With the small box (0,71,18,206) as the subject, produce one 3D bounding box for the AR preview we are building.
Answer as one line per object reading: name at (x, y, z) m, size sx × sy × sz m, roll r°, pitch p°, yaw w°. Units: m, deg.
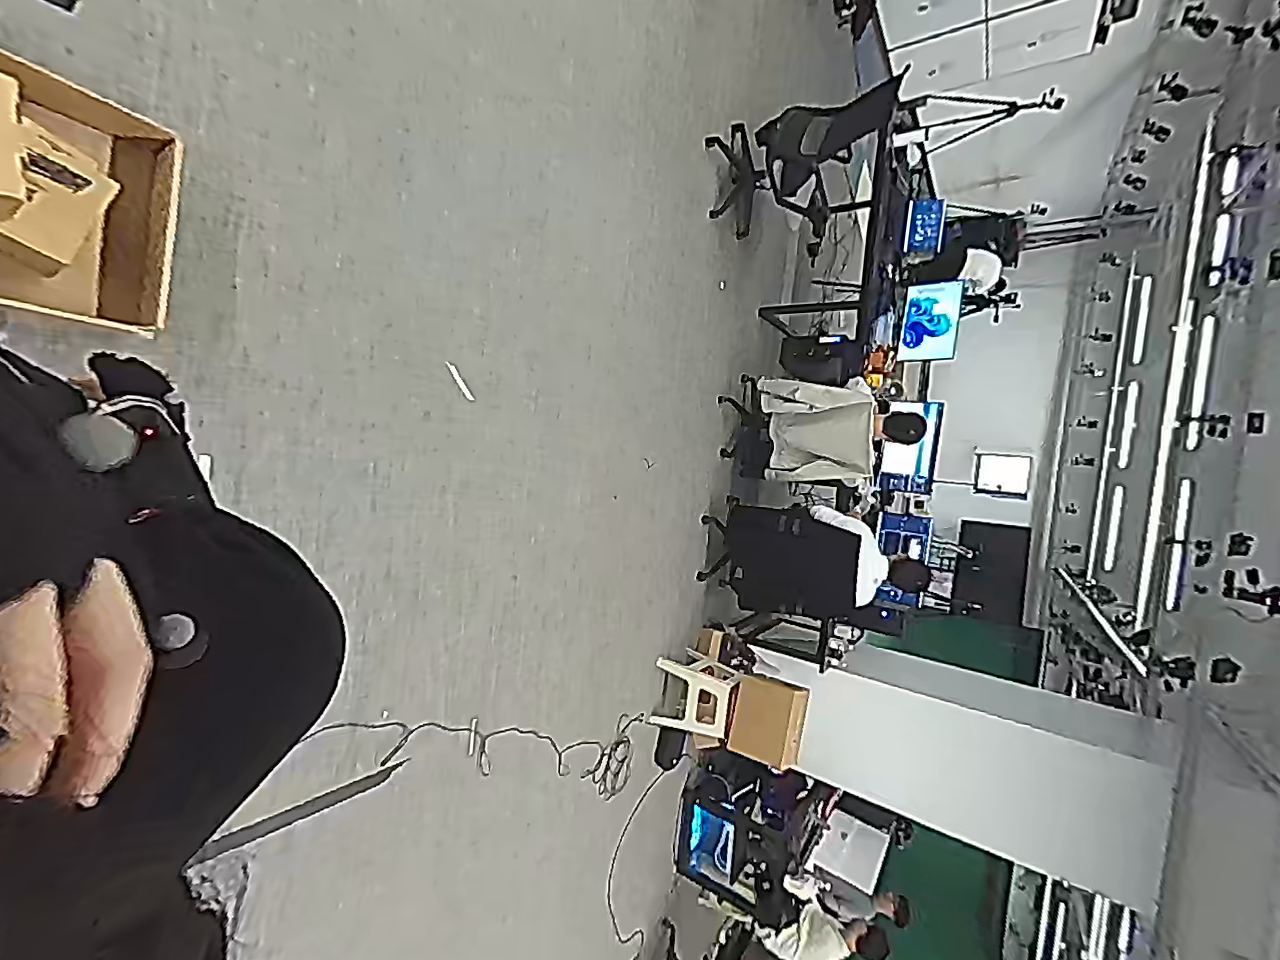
small box at (-0.983, -0.478, 0.721) m, size 0.179 × 0.176 × 0.168 m, roll -7°, pitch 101°, yaw -55°
